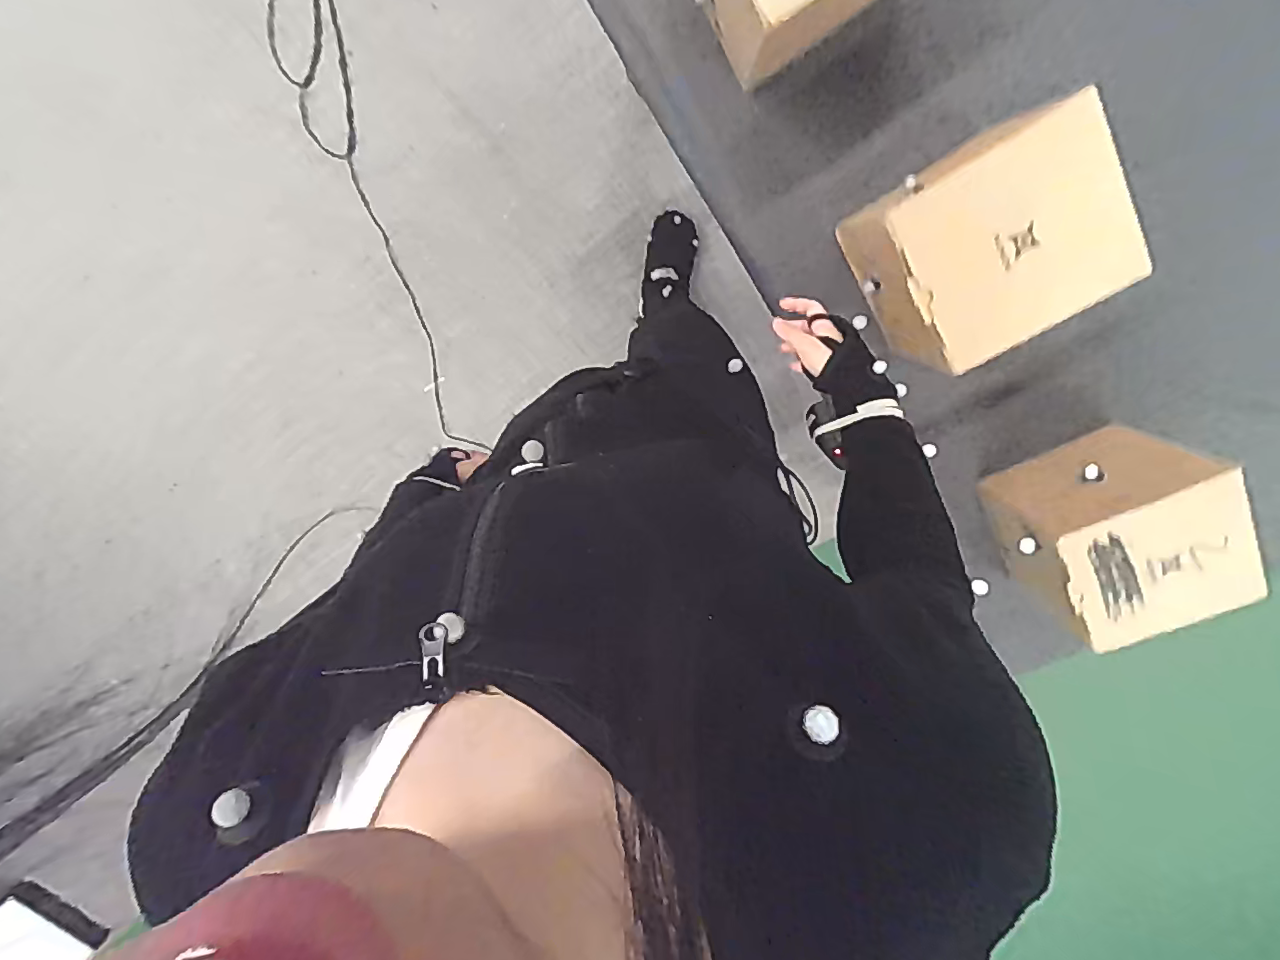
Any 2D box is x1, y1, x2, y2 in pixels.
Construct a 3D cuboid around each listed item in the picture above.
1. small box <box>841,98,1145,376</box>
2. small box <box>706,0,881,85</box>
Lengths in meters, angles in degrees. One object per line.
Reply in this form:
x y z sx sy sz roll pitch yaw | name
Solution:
0.337 -0.234 0.549 0.179 0.176 0.168 -30 108 14 | small box
0.144 -0.487 0.456 0.179 0.176 0.168 -29 107 13 | small box
